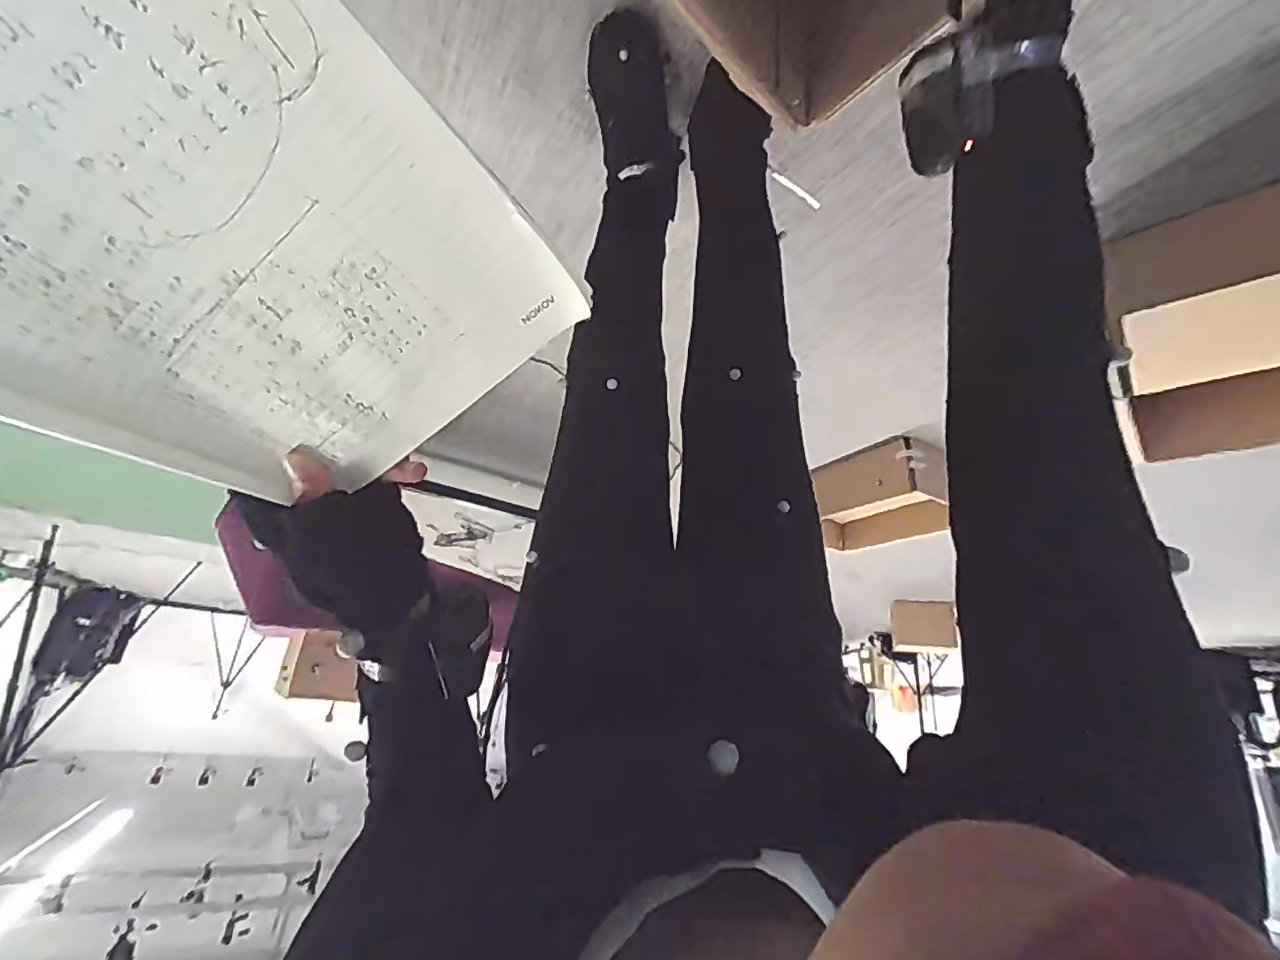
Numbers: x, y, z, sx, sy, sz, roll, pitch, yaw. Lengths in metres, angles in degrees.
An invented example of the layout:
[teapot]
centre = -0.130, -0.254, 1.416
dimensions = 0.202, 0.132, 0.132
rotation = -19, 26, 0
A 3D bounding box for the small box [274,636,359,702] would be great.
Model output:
[small box]
centre = -0.956, 0.562, 1.605
dimensions = 0.168, 0.176, 0.179
rotation = 22, 152, -34
